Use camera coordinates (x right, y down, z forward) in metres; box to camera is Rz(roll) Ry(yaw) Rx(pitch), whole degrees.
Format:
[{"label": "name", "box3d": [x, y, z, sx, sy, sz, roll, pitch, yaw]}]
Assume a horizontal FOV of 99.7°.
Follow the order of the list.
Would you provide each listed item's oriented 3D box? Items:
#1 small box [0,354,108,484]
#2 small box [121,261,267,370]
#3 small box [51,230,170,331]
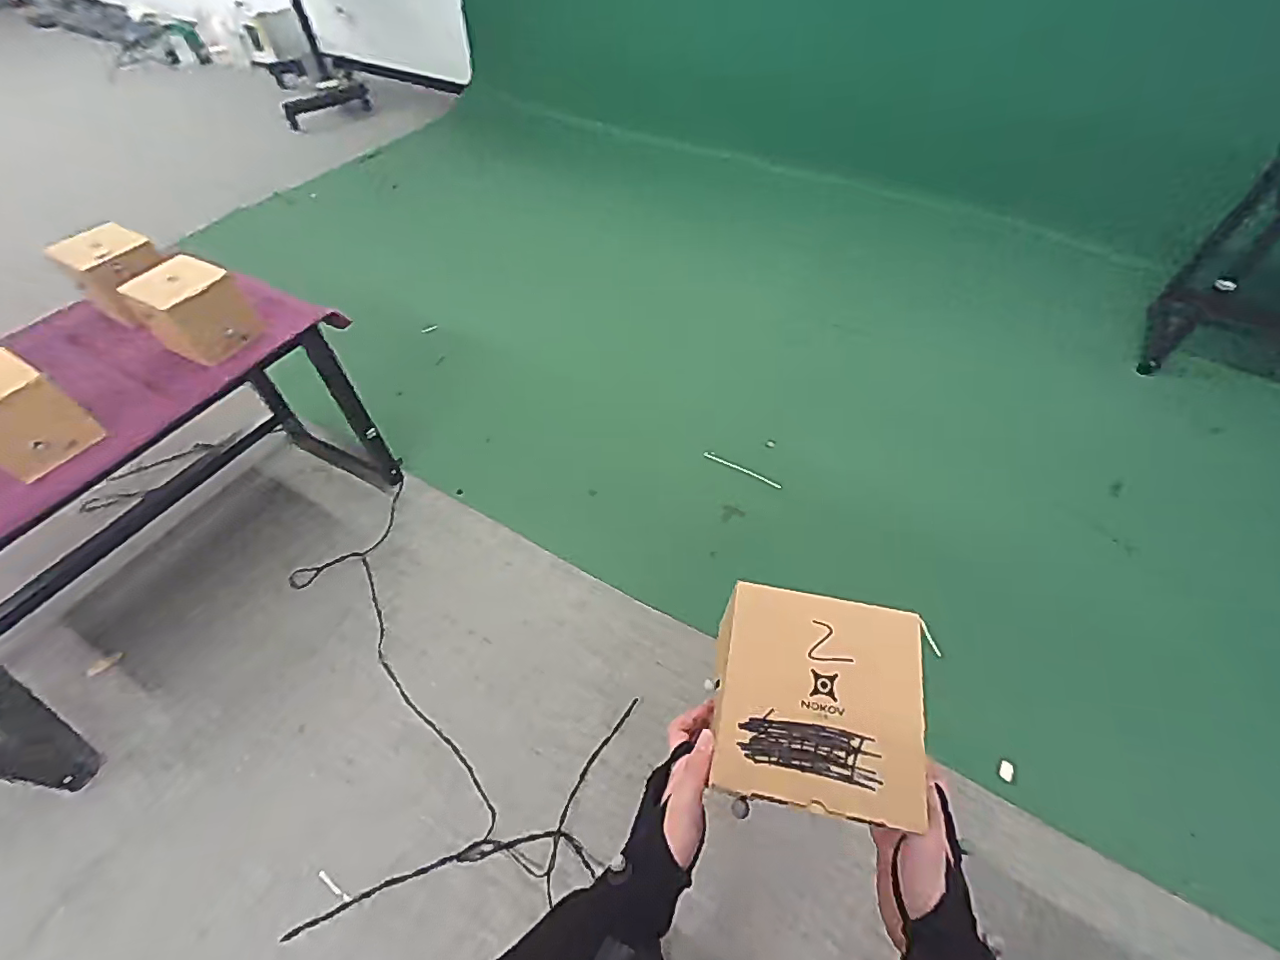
[{"label": "small box", "box3d": [-1.259, -0.119, 1.091, 0.179, 0.176, 0.168, 25, 56, 19]}, {"label": "small box", "box3d": [-1.060, -0.392, 1.300, 0.179, 0.176, 0.168, 23, 57, 17]}, {"label": "small box", "box3d": [-1.329, -0.512, 1.398, 0.179, 0.176, 0.168, 25, 57, 19]}]
